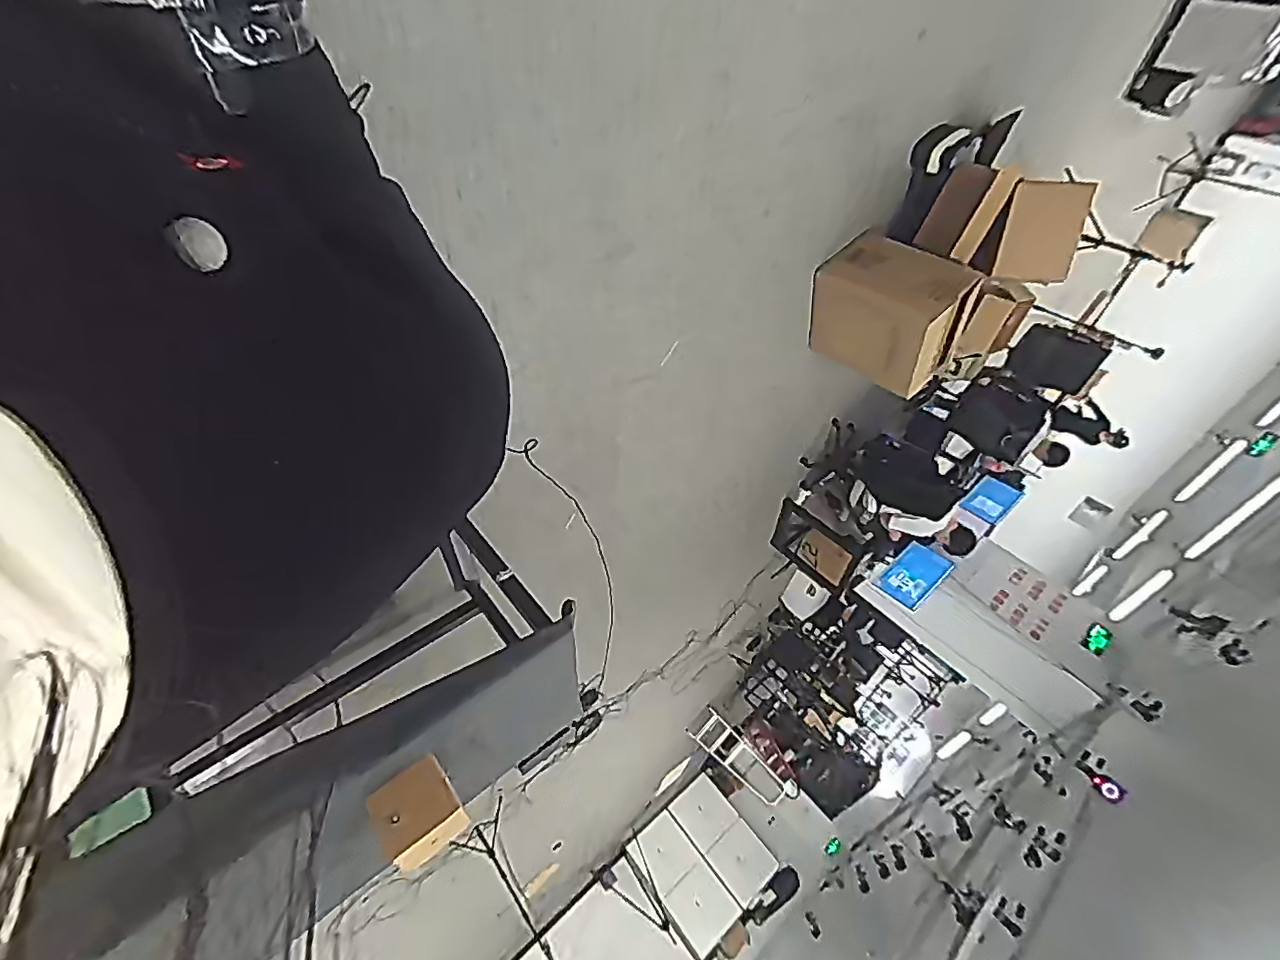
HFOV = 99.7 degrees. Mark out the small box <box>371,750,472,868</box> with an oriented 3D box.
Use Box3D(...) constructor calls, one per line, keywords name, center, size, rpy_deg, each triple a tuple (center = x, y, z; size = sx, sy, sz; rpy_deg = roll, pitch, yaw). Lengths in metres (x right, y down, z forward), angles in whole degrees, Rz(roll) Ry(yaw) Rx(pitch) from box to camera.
Box3D(name="small box", center=(-0.560, 0.835, 1.379), size=(0.179, 0.176, 0.168), rpy_deg=(-32, 147, -28))
